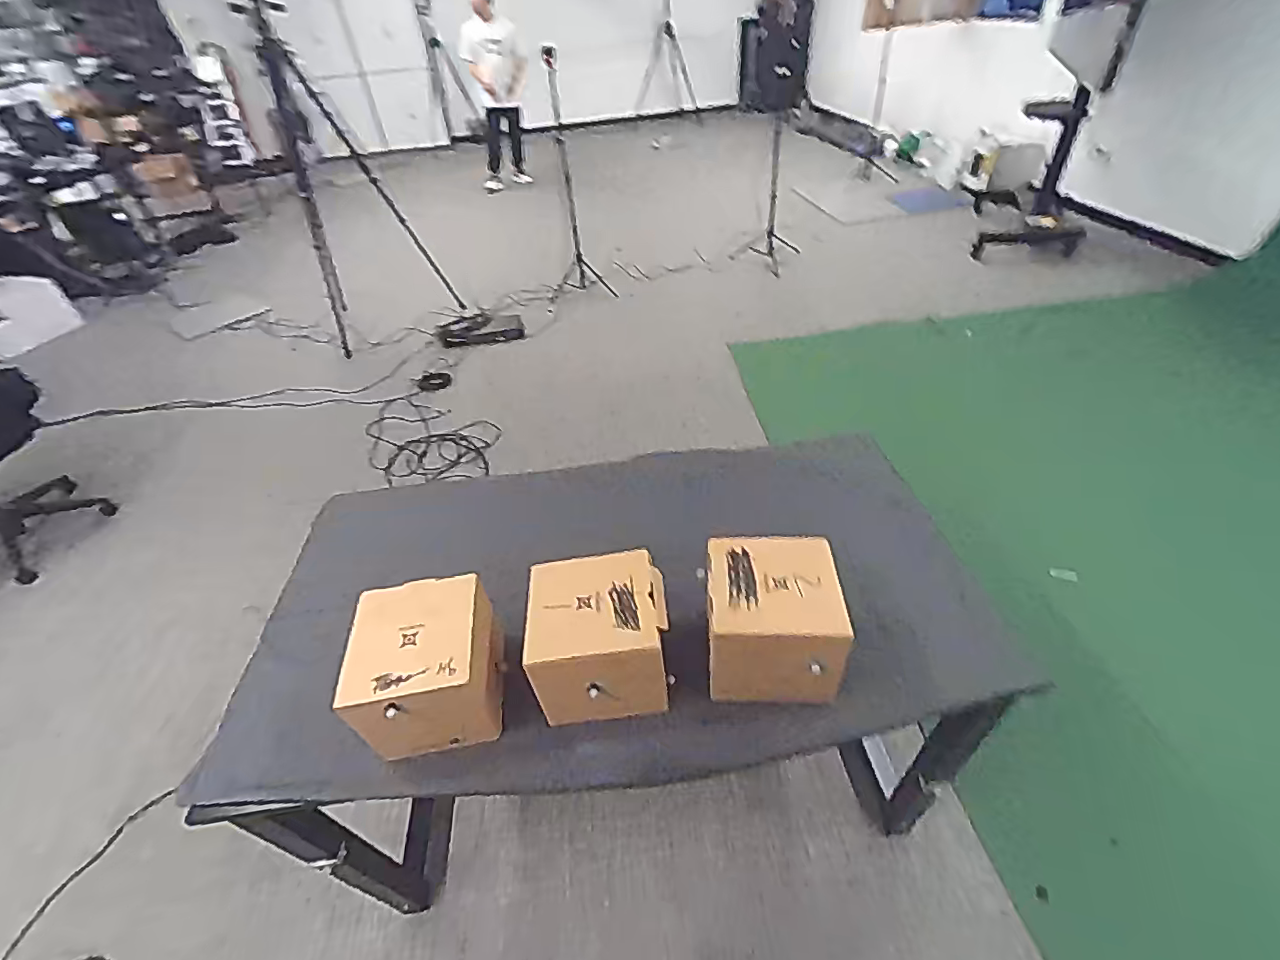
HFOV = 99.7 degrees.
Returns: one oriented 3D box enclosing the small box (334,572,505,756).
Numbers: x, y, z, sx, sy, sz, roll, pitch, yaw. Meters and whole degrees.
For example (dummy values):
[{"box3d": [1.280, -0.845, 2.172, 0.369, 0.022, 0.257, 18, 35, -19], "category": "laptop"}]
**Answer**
[{"box3d": [-0.296, 0.261, 0.772, 0.168, 0.176, 0.179, -10, 42, -3], "category": "small box"}]
